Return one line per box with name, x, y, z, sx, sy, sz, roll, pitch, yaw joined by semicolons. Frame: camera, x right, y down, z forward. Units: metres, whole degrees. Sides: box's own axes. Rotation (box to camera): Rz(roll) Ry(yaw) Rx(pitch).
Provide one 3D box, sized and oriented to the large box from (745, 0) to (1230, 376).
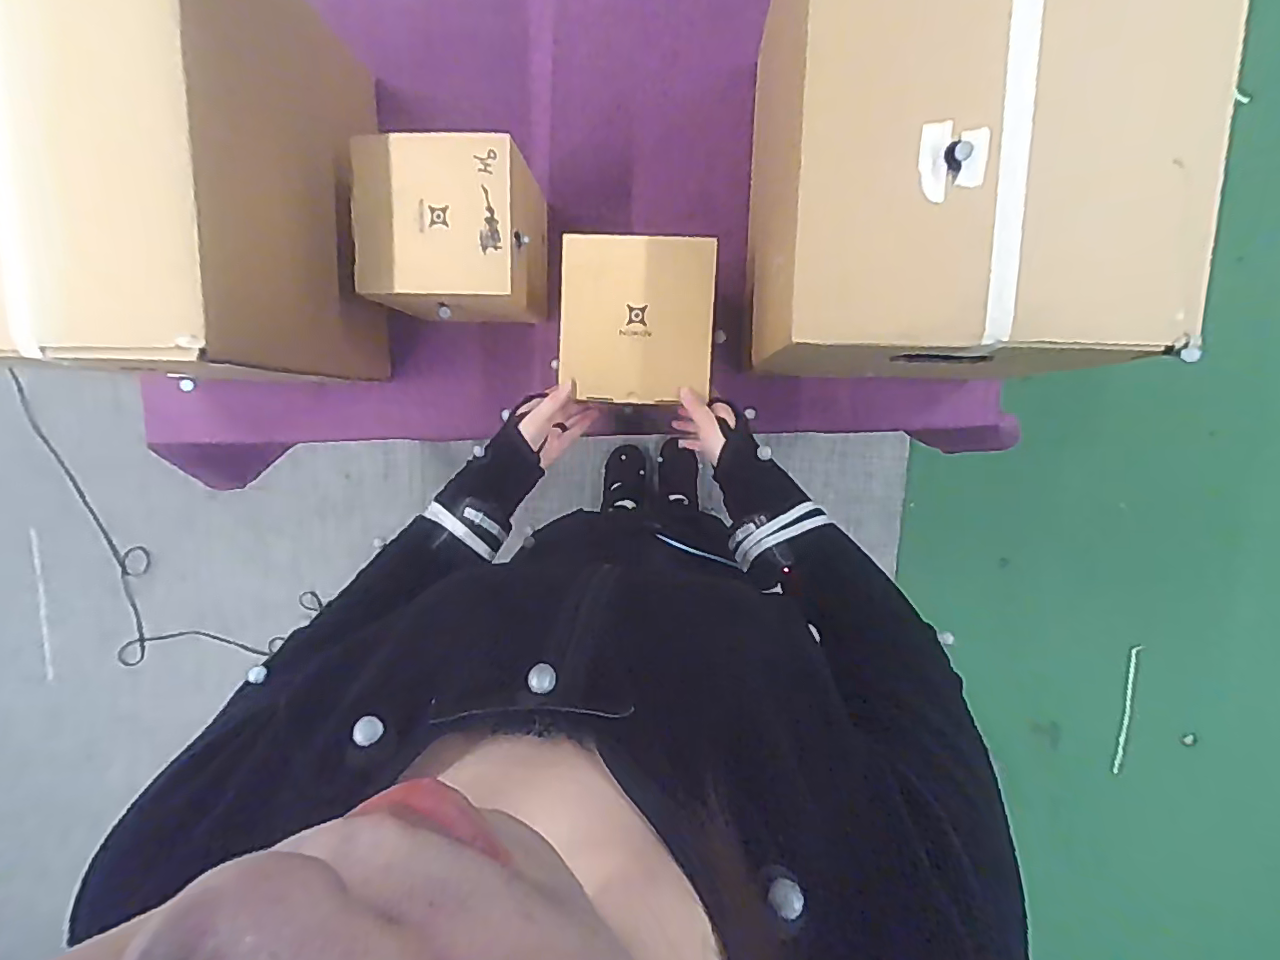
large box;0.294;-0.326;0.566;0.320;0.320;0.408;2;98;2
